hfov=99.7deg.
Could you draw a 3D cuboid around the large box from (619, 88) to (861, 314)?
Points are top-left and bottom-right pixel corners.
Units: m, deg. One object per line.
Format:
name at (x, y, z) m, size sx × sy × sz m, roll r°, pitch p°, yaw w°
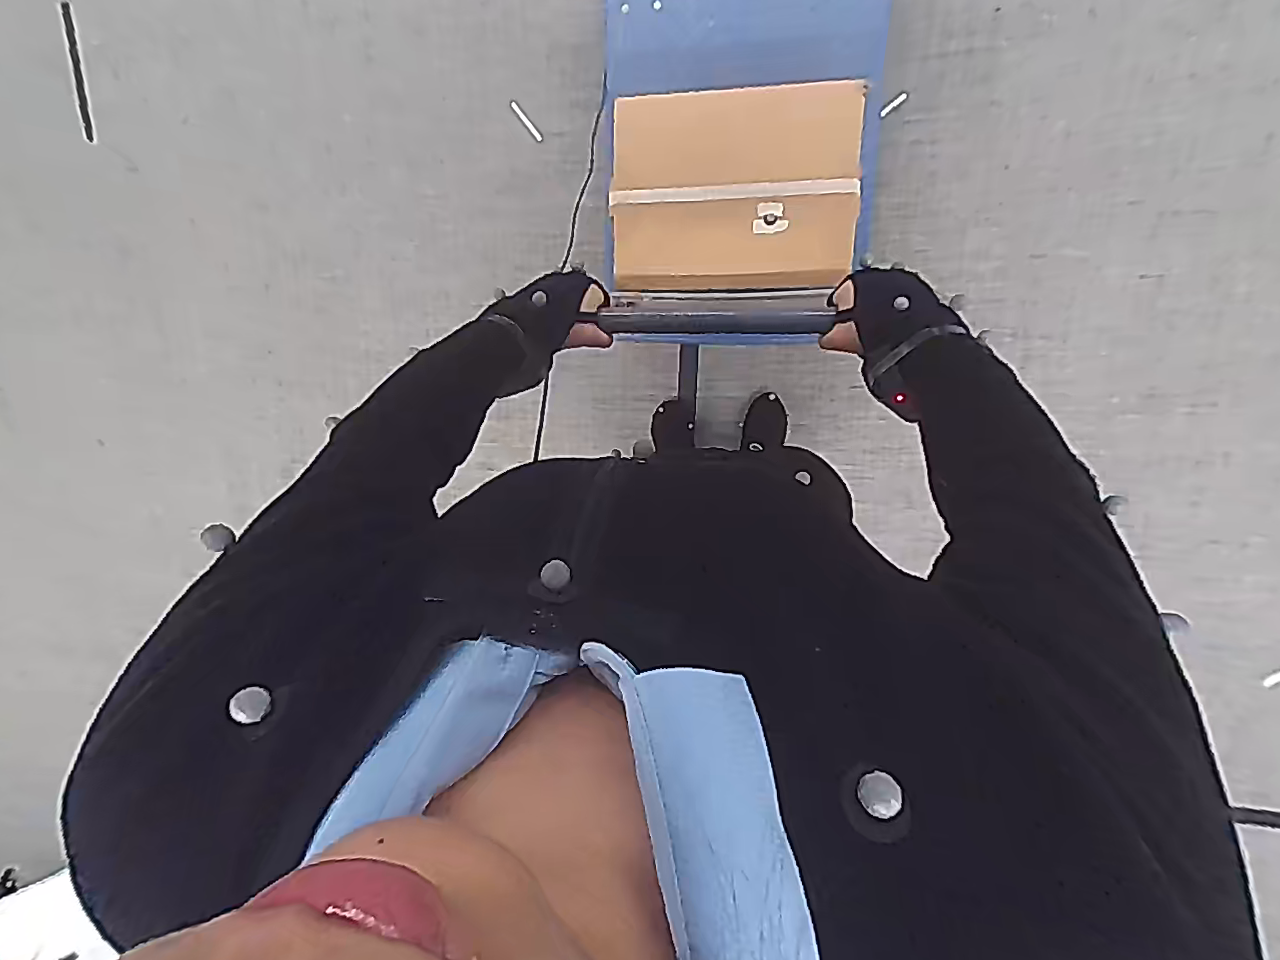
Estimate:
large box at (0.181, -0.510, 1.068) m, size 0.408 × 0.320 × 0.320 m, roll 2°, pitch 101°, yaw 9°
